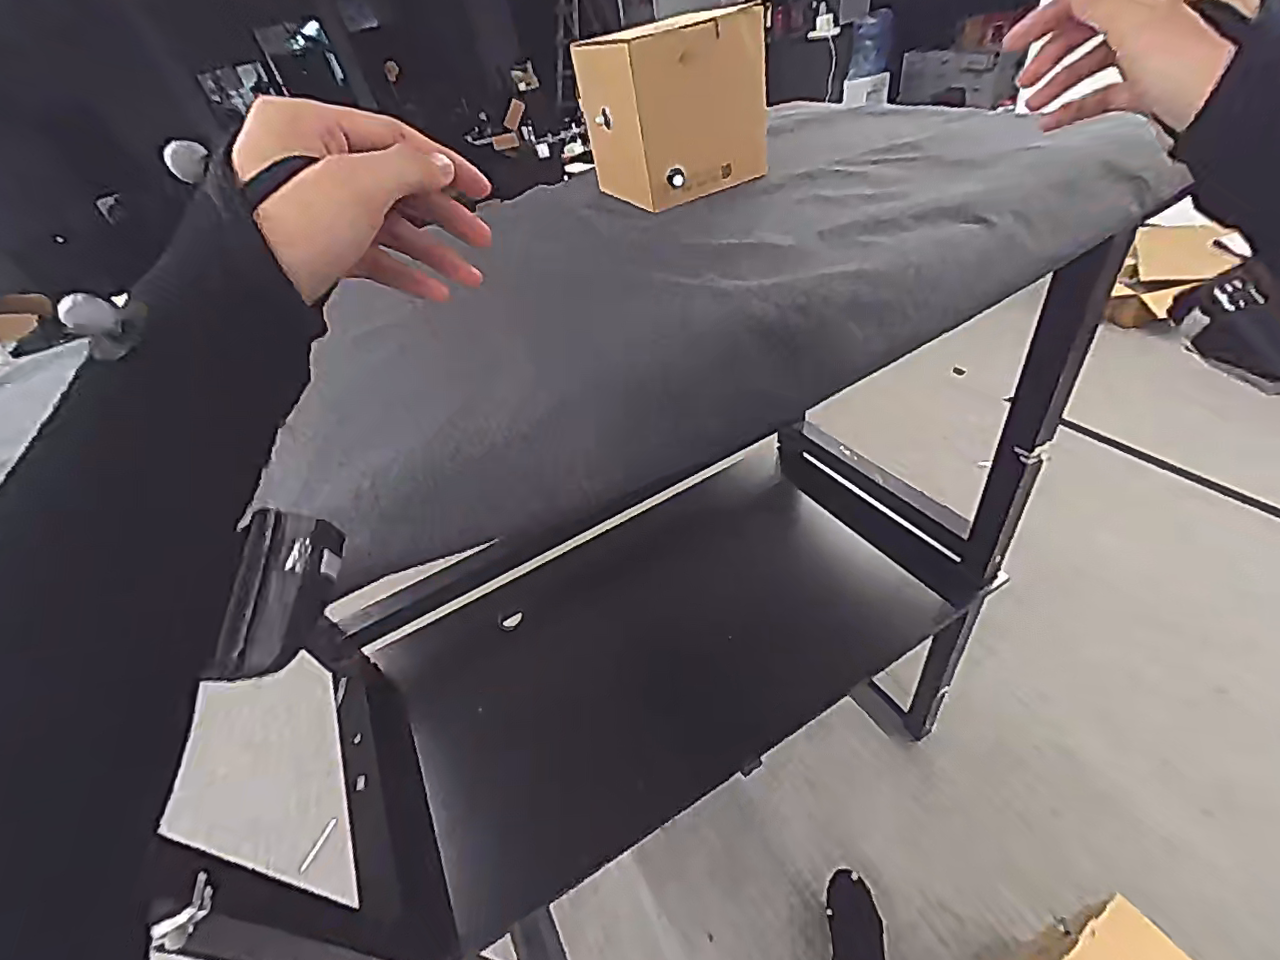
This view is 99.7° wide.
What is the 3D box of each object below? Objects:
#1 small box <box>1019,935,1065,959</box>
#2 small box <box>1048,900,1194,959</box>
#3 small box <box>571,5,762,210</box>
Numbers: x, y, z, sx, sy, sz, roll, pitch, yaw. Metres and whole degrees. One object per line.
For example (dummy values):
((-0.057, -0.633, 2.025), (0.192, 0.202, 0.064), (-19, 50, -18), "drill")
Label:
((0.800, 1.025, 1.030), (0.179, 0.176, 0.168), (-29, 43, -16), "small box")
((0.746, 0.787, 0.811), (0.168, 0.176, 0.179), (-30, 44, -17), "small box")
((0.038, -0.454, 0.671), (0.168, 0.176, 0.179), (-25, 41, -12), "small box")
